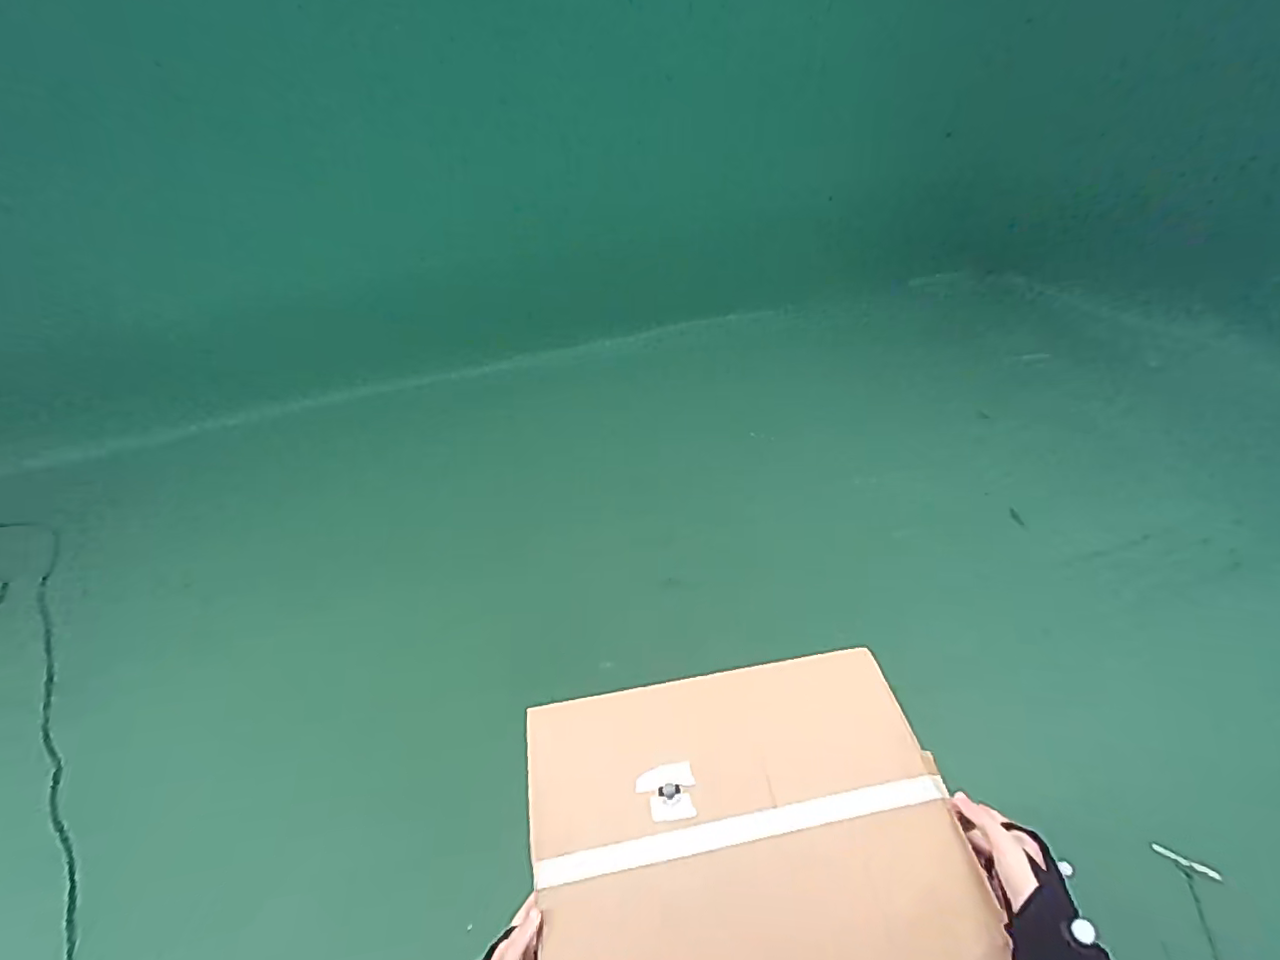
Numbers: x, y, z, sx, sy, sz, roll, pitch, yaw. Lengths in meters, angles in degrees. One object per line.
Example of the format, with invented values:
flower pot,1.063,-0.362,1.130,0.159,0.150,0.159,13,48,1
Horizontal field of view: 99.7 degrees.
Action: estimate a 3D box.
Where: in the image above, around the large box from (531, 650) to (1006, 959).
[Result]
large box,0.103,0.443,0.643,0.408,0.320,0.320,-8,47,-5
